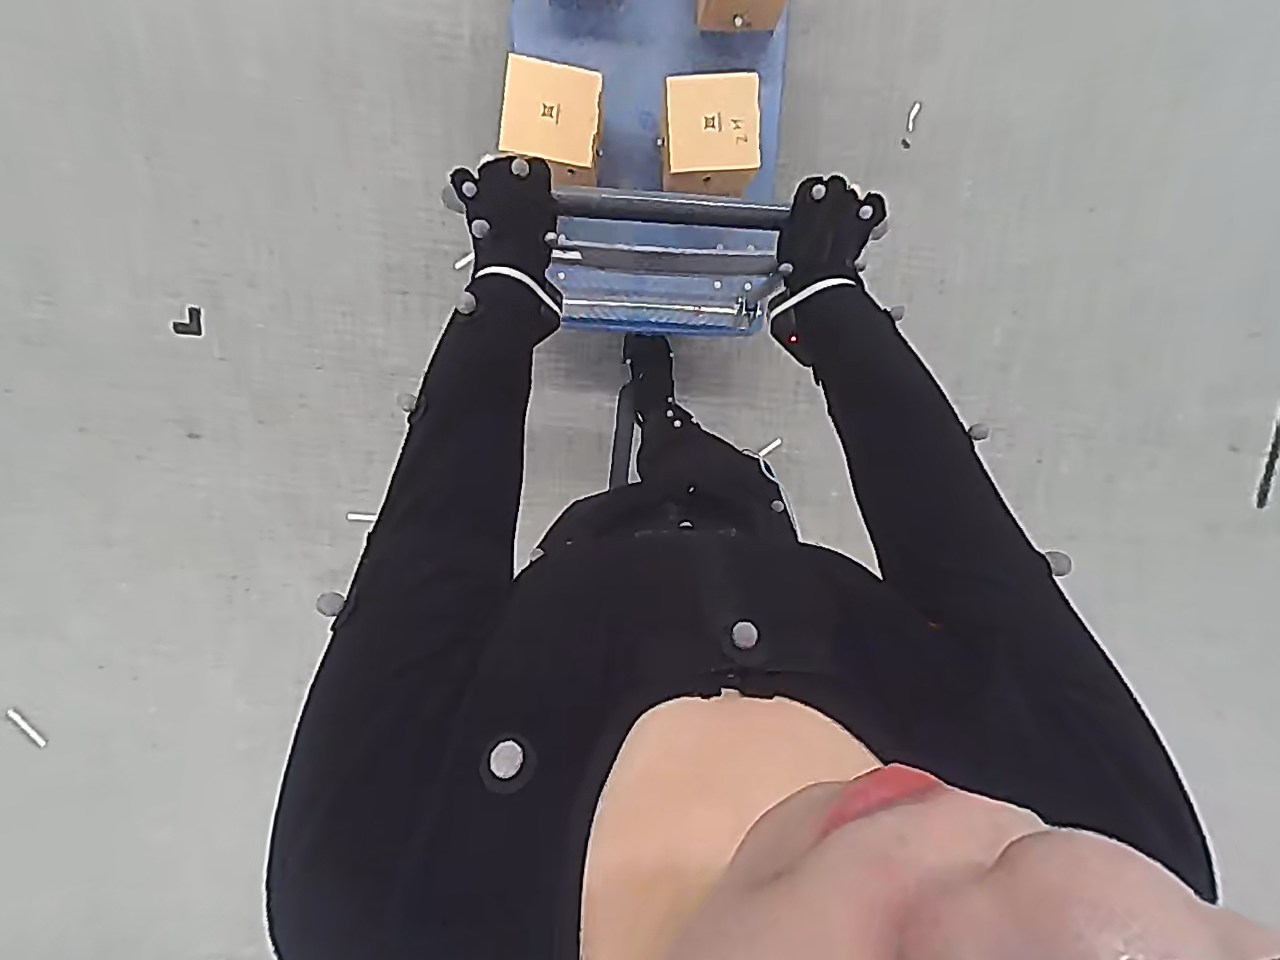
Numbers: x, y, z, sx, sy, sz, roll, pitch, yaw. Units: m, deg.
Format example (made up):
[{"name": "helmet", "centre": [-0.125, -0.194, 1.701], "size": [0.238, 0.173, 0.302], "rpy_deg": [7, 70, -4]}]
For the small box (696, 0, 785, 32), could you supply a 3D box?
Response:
[{"name": "small box", "centre": [0.198, -1.005, 1.029], "size": [0.168, 0.176, 0.179], "rpy_deg": [-2, 102, -2]}]

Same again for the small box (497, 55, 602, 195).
[{"name": "small box", "centre": [-0.173, -0.690, 1.073], "size": [0.179, 0.176, 0.168], "rpy_deg": [8, 99, -5]}]

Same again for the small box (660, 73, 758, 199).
[{"name": "small box", "centre": [0.132, -0.680, 1.087], "size": [0.179, 0.176, 0.168], "rpy_deg": [-4, 101, -2]}]
